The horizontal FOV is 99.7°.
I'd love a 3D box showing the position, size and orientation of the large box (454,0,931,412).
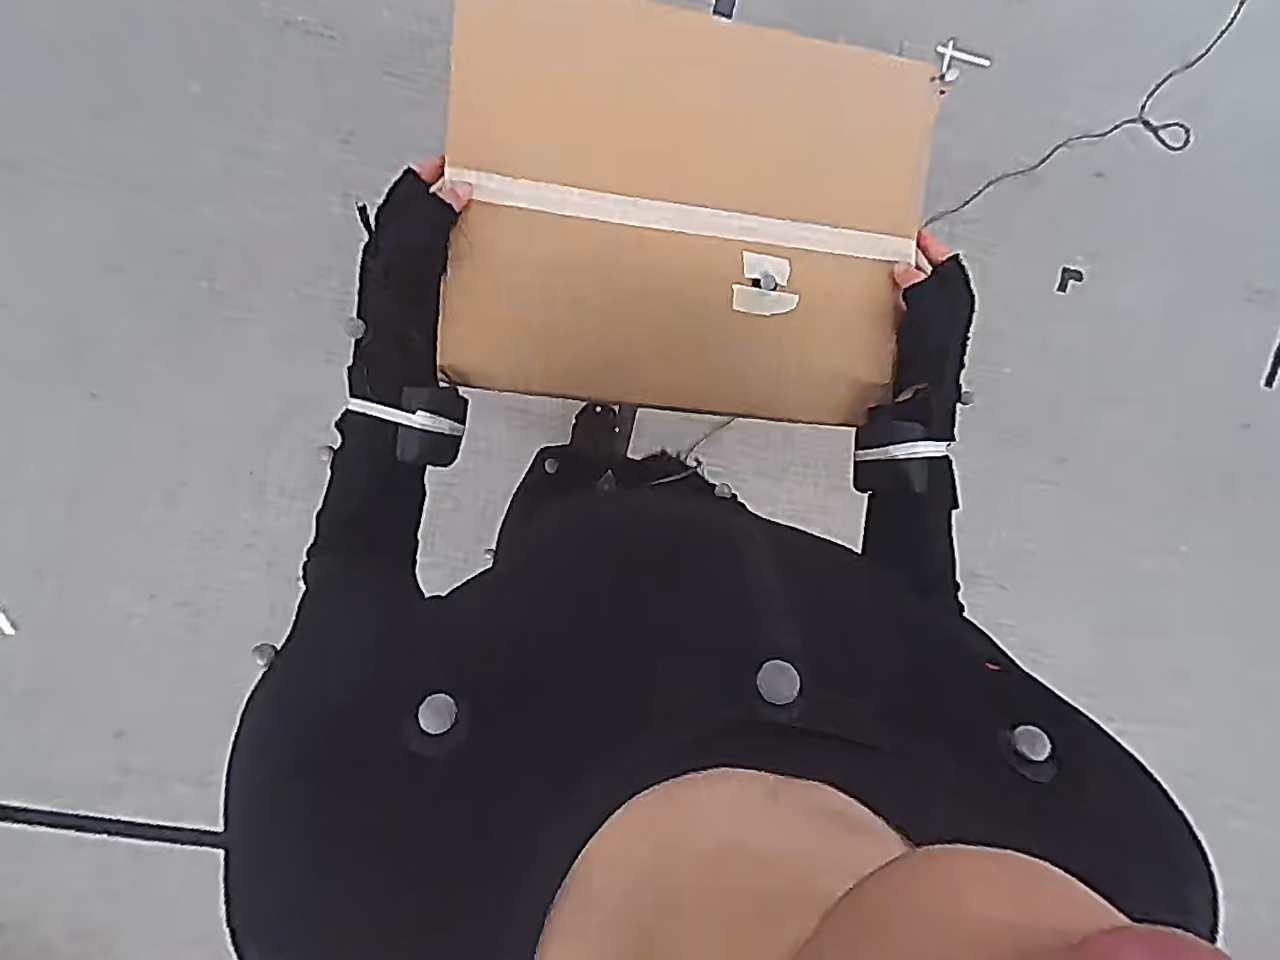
[{"bbox_3d":[0.026,-0.253,0.612,0.408,0.320,0.320,5,100,-9],"label":"large box"}]
